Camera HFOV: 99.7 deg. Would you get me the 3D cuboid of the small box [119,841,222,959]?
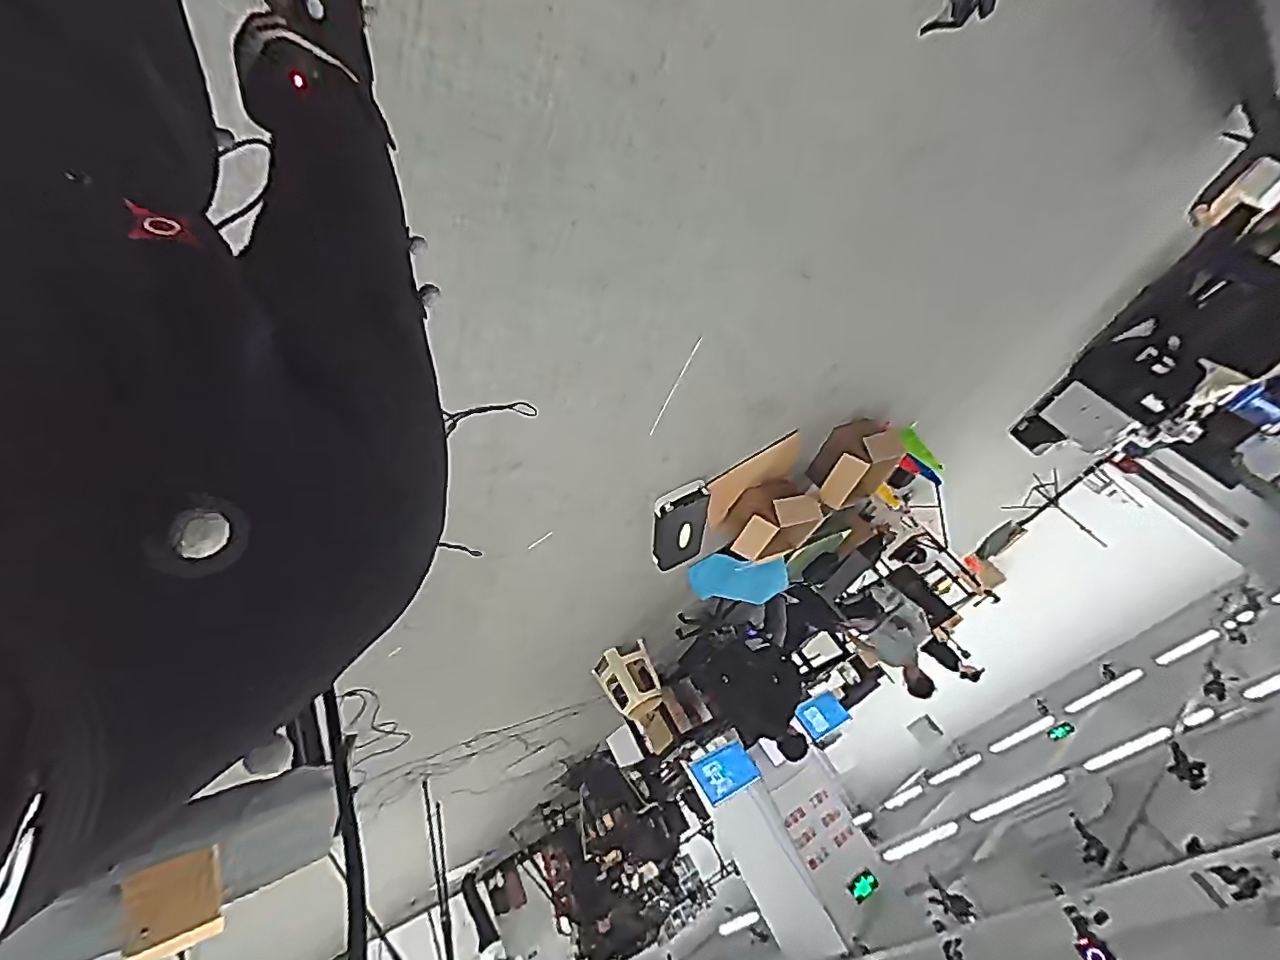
[{"bbox_3d":[-1.111,1.000,1.285,0.179,0.176,0.168,-3,139,-39],"label":"small box"}]
